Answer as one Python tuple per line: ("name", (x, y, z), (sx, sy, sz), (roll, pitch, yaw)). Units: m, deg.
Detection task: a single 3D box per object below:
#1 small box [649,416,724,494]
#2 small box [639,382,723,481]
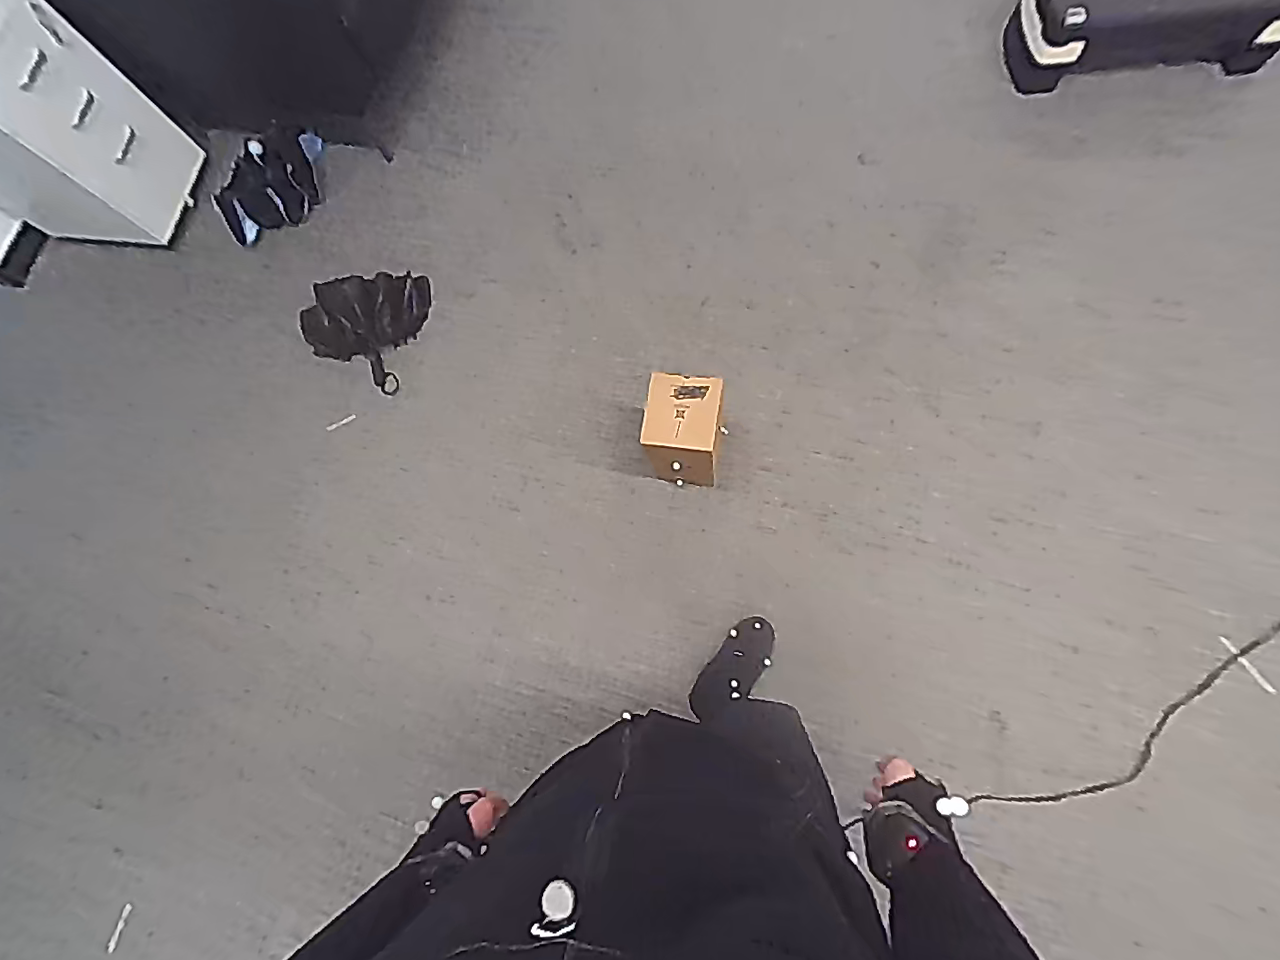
("small box", (0.128, -0.073, 1.439), (0.168, 0.176, 0.179), (8, 77, 11))
("small box", (0.102, -0.111, 1.280), (0.168, 0.176, 0.179), (8, 76, 11))
